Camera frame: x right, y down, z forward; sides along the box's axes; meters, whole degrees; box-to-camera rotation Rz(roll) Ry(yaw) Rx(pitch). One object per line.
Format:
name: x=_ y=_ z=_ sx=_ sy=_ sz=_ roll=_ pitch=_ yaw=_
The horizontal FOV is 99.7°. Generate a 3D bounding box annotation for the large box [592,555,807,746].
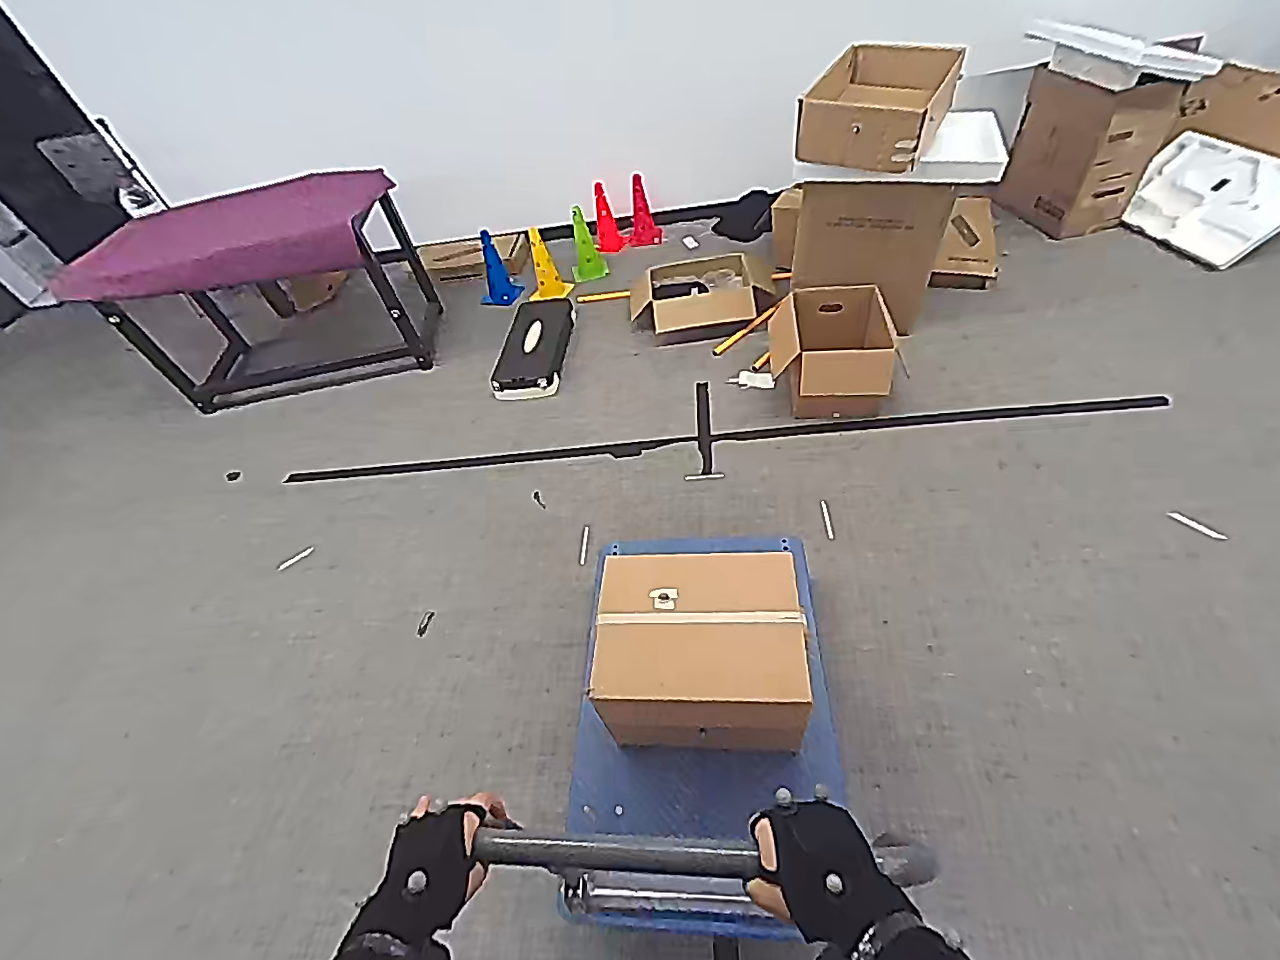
large box: x=0.137 y=0.388 z=1.202 sx=0.408 sy=0.320 sz=0.320 roll=-4 pitch=48 yaw=9
